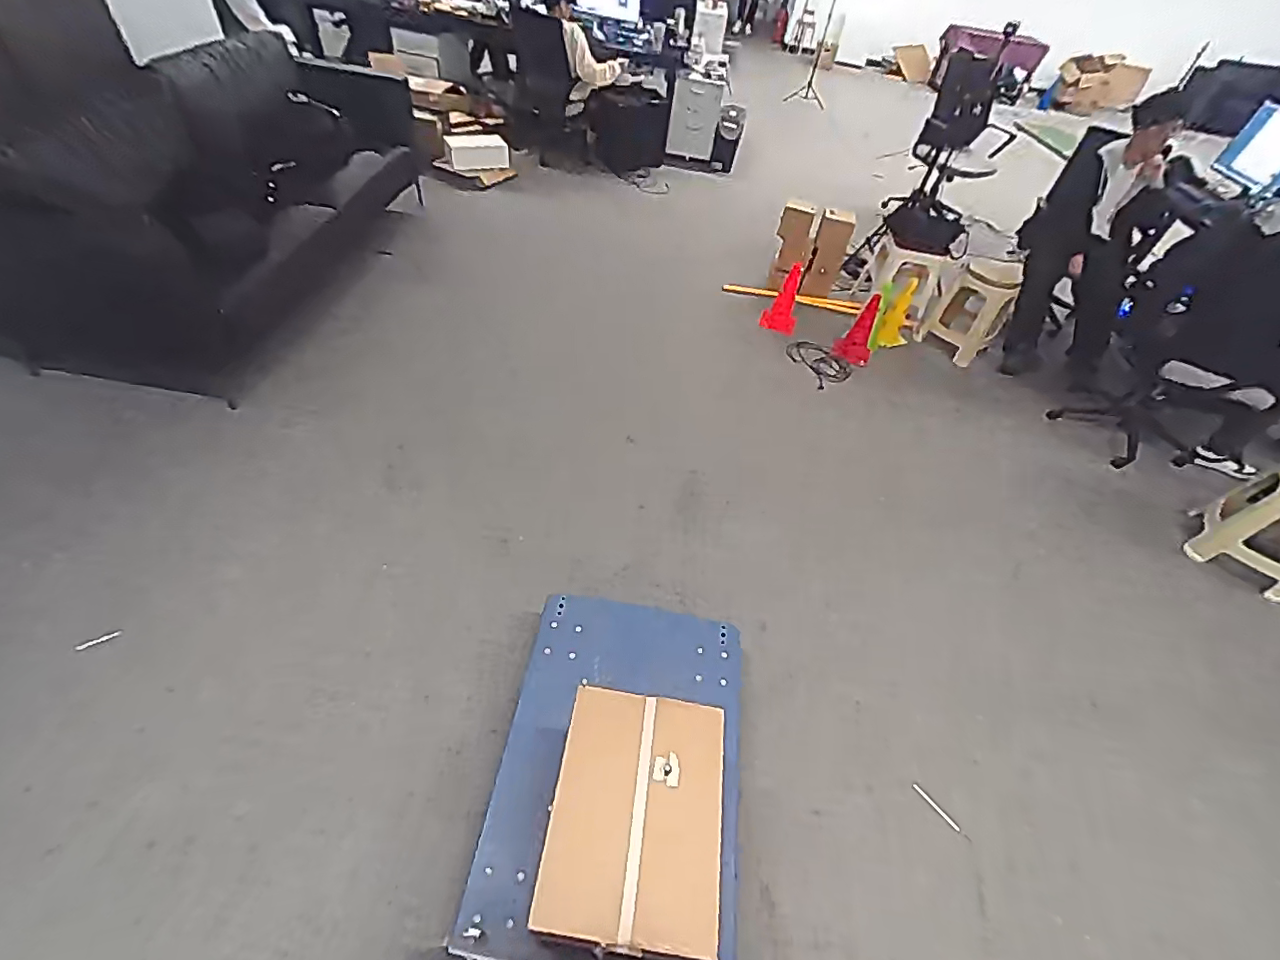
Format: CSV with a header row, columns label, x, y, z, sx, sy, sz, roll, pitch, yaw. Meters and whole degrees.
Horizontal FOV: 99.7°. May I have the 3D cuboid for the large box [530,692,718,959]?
label,x,y,z,sx,sy,sz,roll,pitch,yaw
large box,-0.023,0.712,1.109,0.320,0.320,0.408,10,46,0
